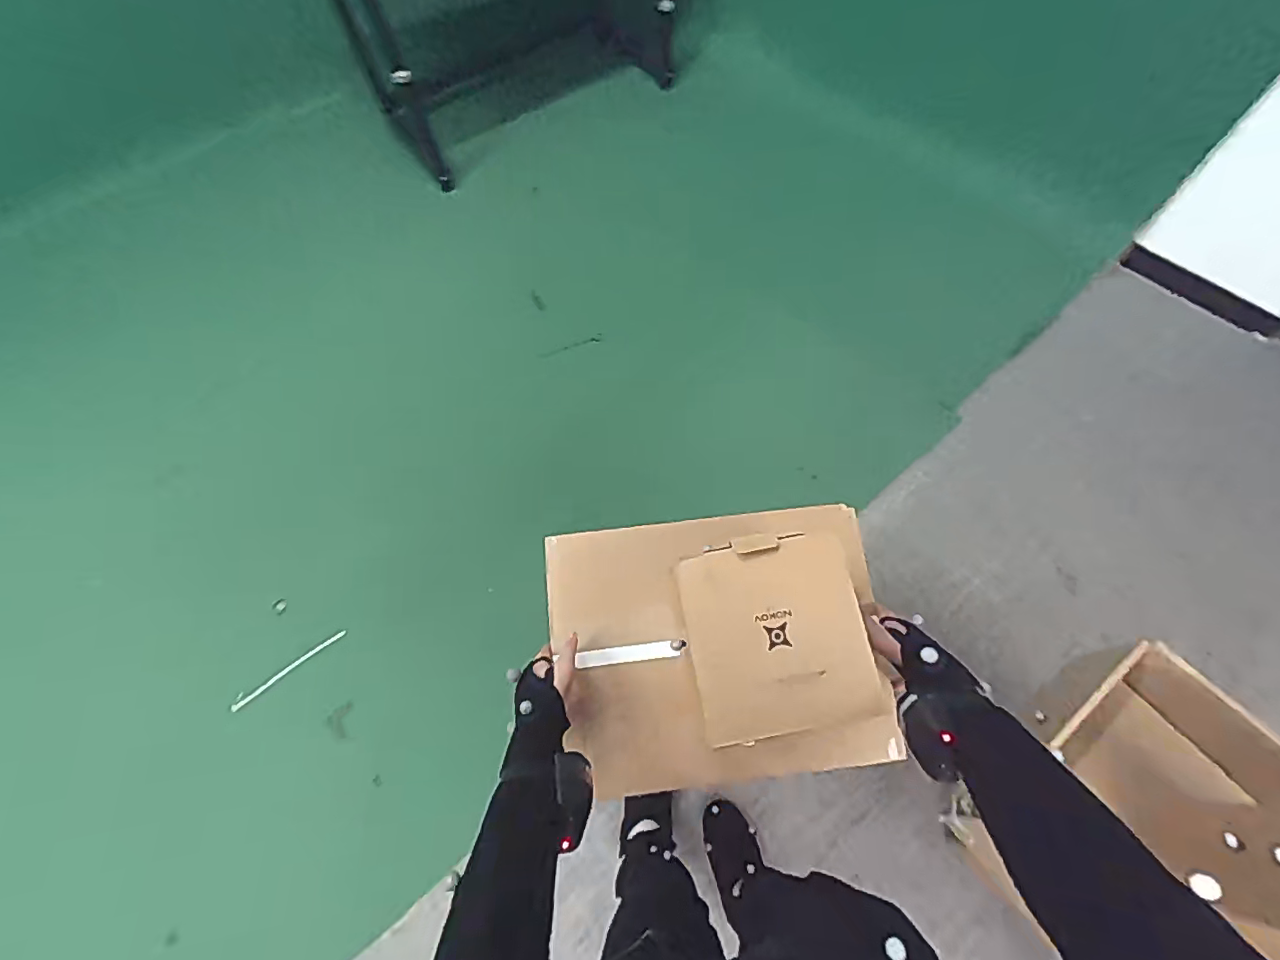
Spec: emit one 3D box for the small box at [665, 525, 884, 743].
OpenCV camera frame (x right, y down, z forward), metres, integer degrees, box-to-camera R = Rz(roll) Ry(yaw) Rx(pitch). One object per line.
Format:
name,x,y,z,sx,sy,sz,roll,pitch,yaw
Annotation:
small box,0.122,0.161,0.576,0.168,0.176,0.179,-10,74,-3

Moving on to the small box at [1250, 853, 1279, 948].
small box,0.832,0.494,0.571,0.179,0.176,0.168,-39,67,-14

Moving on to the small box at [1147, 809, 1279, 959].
small box,0.846,0.570,0.715,0.179,0.176,0.168,-37,66,-13
